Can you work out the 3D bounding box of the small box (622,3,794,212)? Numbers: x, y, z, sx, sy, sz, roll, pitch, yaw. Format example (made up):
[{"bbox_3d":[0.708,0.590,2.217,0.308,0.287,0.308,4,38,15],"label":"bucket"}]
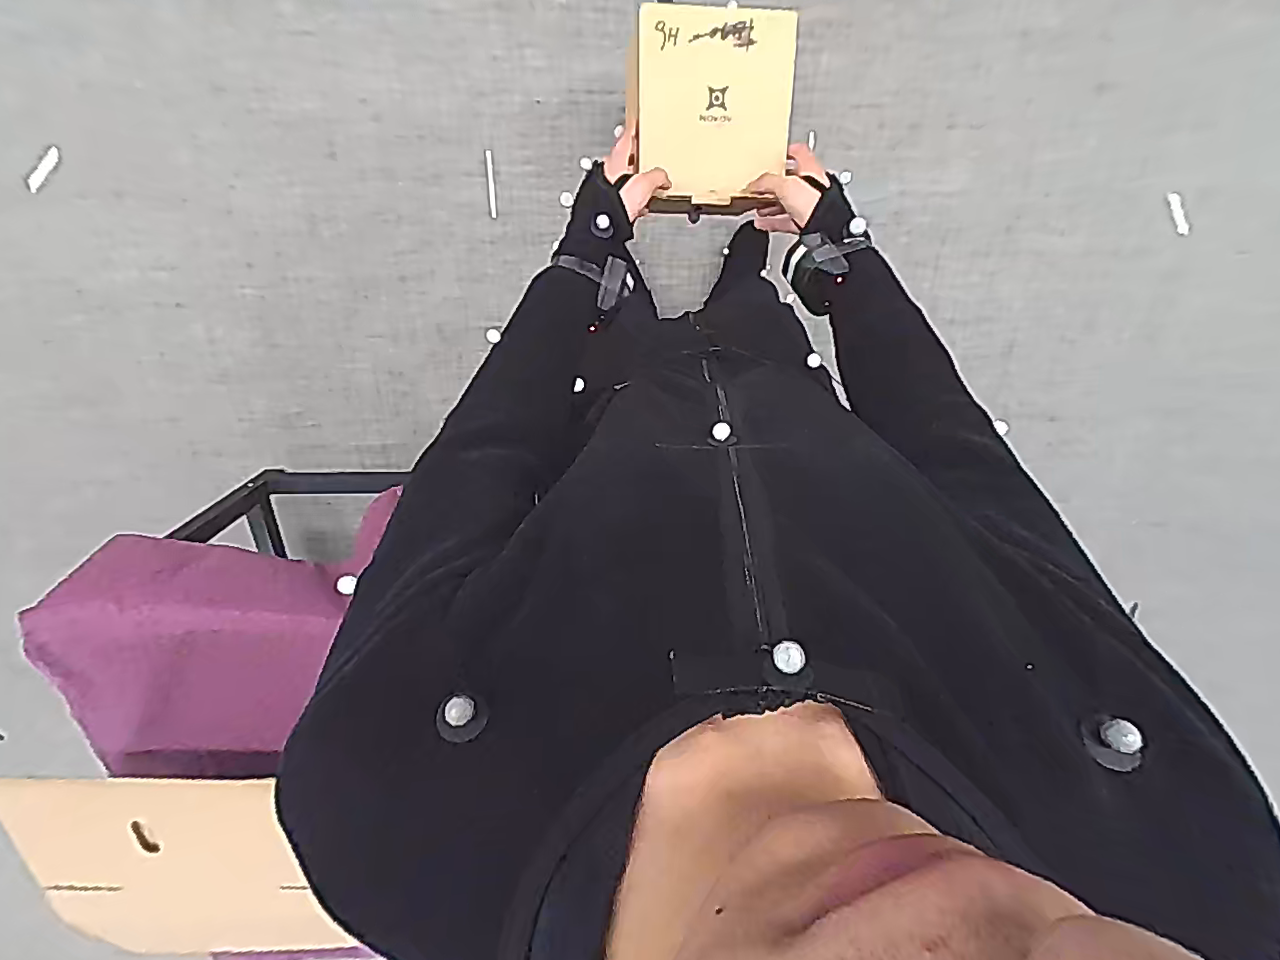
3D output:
[{"bbox_3d":[0.068,-0.426,0.652,0.168,0.176,0.179,-2,112,-6],"label":"small box"}]
